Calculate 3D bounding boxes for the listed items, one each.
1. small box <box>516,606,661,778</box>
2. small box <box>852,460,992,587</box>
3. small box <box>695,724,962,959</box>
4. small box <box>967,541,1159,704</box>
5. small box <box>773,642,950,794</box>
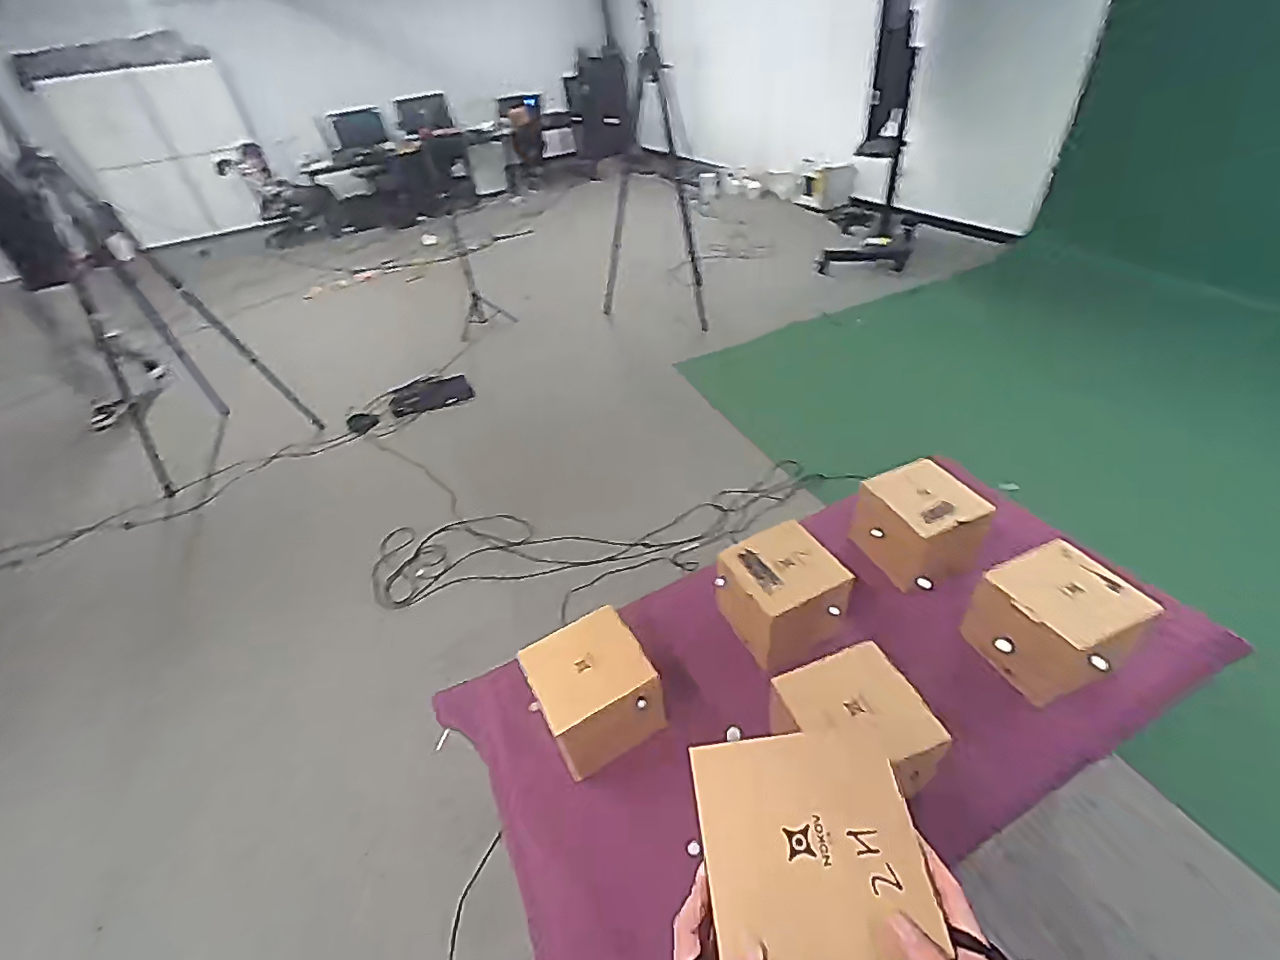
[{"bbox_3d":[-0.080,0.351,0.897,0.179,0.176,0.168,-24,43,-20],"label":"small box"},{"bbox_3d":[0.556,0.093,1.093,0.168,0.176,0.179,-18,40,-12],"label":"small box"},{"bbox_3d":[0.151,0.338,0.502,0.179,0.176,0.168,-8,56,2],"label":"small box"},{"bbox_3d":[0.681,0.237,0.899,0.179,0.176,0.168,-20,40,-12],"label":"small box"},{"bbox_3d":[0.309,0.377,0.799,0.179,0.176,0.168,-17,39,-10],"label":"small box"}]
